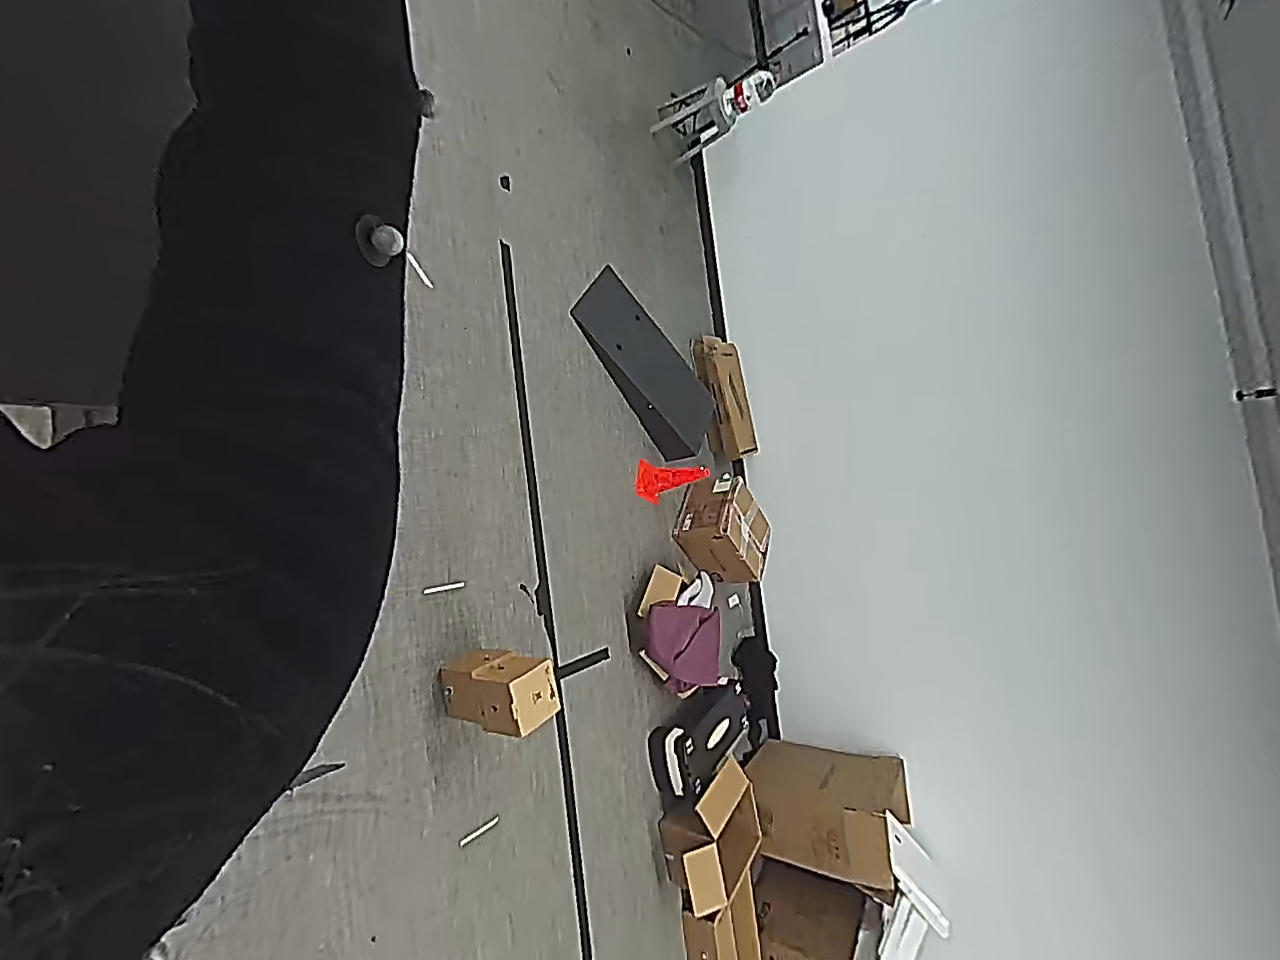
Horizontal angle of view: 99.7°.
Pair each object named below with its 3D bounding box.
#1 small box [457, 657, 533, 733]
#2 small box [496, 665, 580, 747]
[{"bbox_3d":[-0.449,0.676,1.721,0.179,0.176,0.168,-14,93,-55],"label":"small box"},{"bbox_3d":[-0.313,0.672,1.628,0.179,0.176,0.168,-15,95,-56],"label":"small box"}]
